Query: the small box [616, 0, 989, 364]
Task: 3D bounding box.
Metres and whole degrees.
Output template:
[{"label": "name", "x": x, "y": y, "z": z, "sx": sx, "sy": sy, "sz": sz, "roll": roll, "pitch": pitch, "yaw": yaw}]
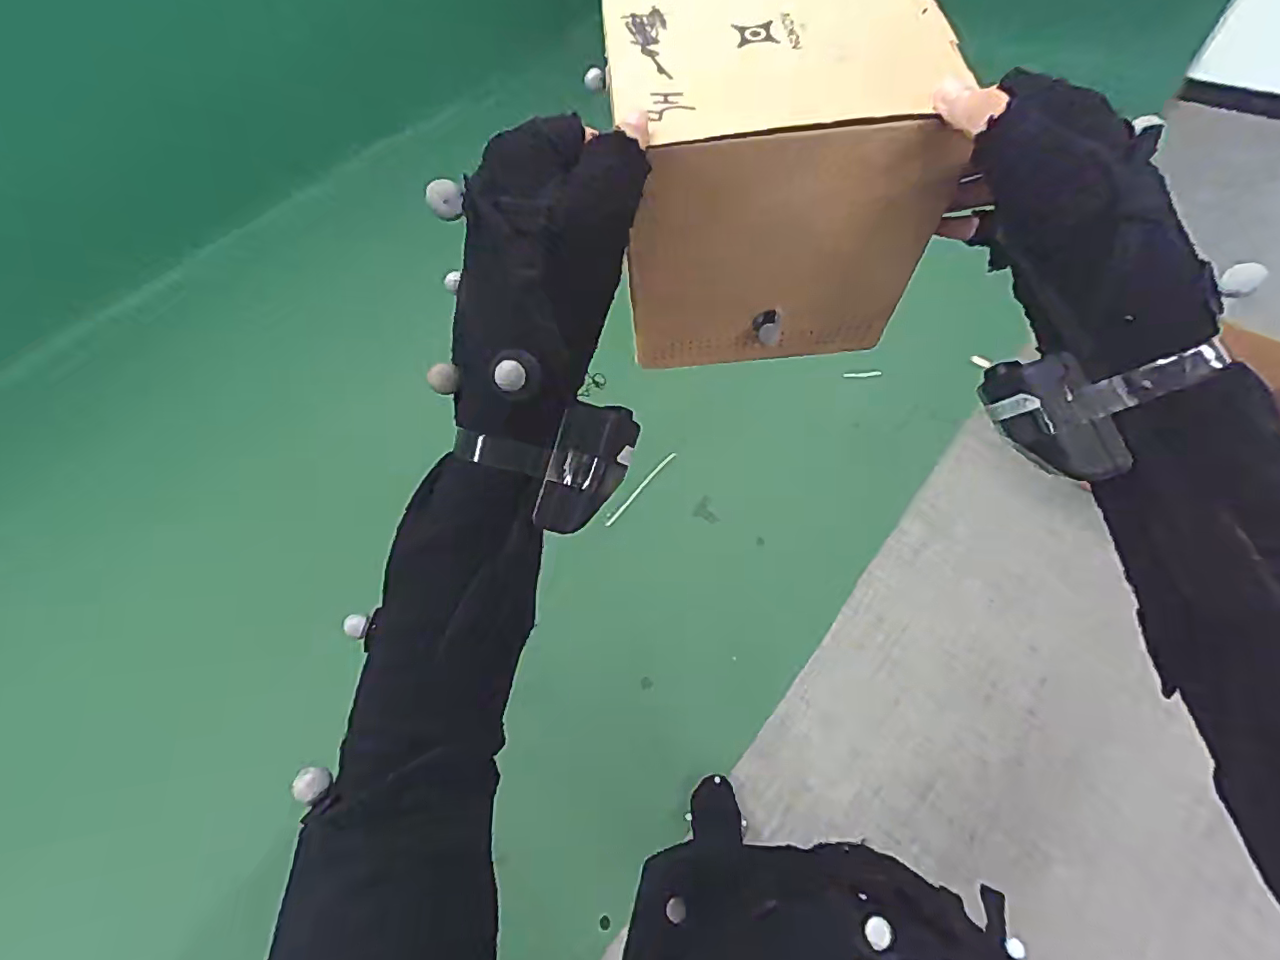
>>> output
[{"label": "small box", "x": 0.077, "y": -0.195, "z": 0.359, "sx": 0.179, "sy": 0.176, "sz": 0.168, "roll": -4, "pitch": 62, "yaw": 1}]
